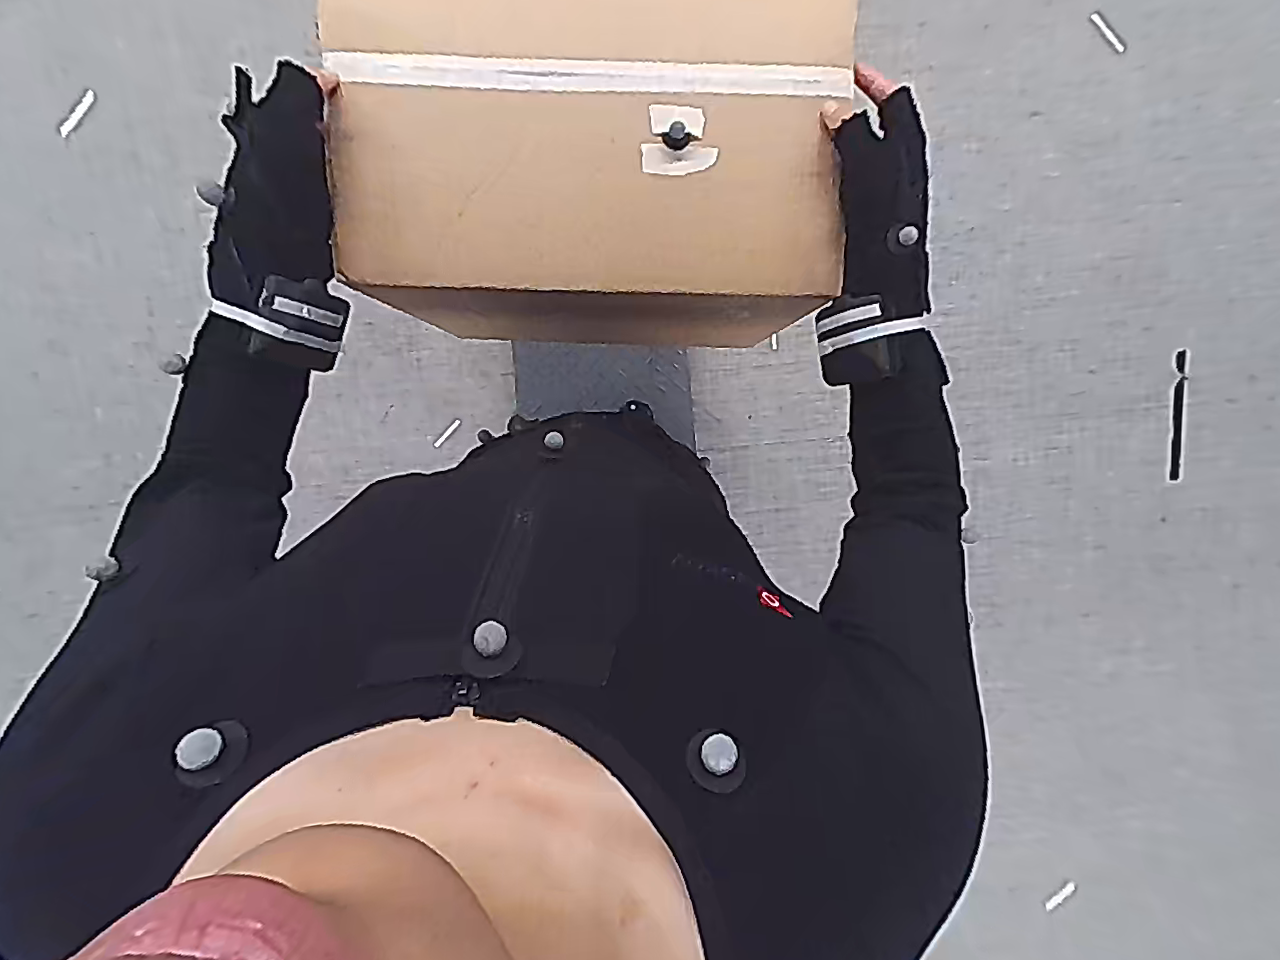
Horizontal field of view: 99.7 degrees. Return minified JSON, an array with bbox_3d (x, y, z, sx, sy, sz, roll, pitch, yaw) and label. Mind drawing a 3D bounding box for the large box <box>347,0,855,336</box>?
[{"bbox_3d":[-0.036,-0.333,0.575,0.408,0.320,0.320,1,97,-2],"label":"large box"}]
